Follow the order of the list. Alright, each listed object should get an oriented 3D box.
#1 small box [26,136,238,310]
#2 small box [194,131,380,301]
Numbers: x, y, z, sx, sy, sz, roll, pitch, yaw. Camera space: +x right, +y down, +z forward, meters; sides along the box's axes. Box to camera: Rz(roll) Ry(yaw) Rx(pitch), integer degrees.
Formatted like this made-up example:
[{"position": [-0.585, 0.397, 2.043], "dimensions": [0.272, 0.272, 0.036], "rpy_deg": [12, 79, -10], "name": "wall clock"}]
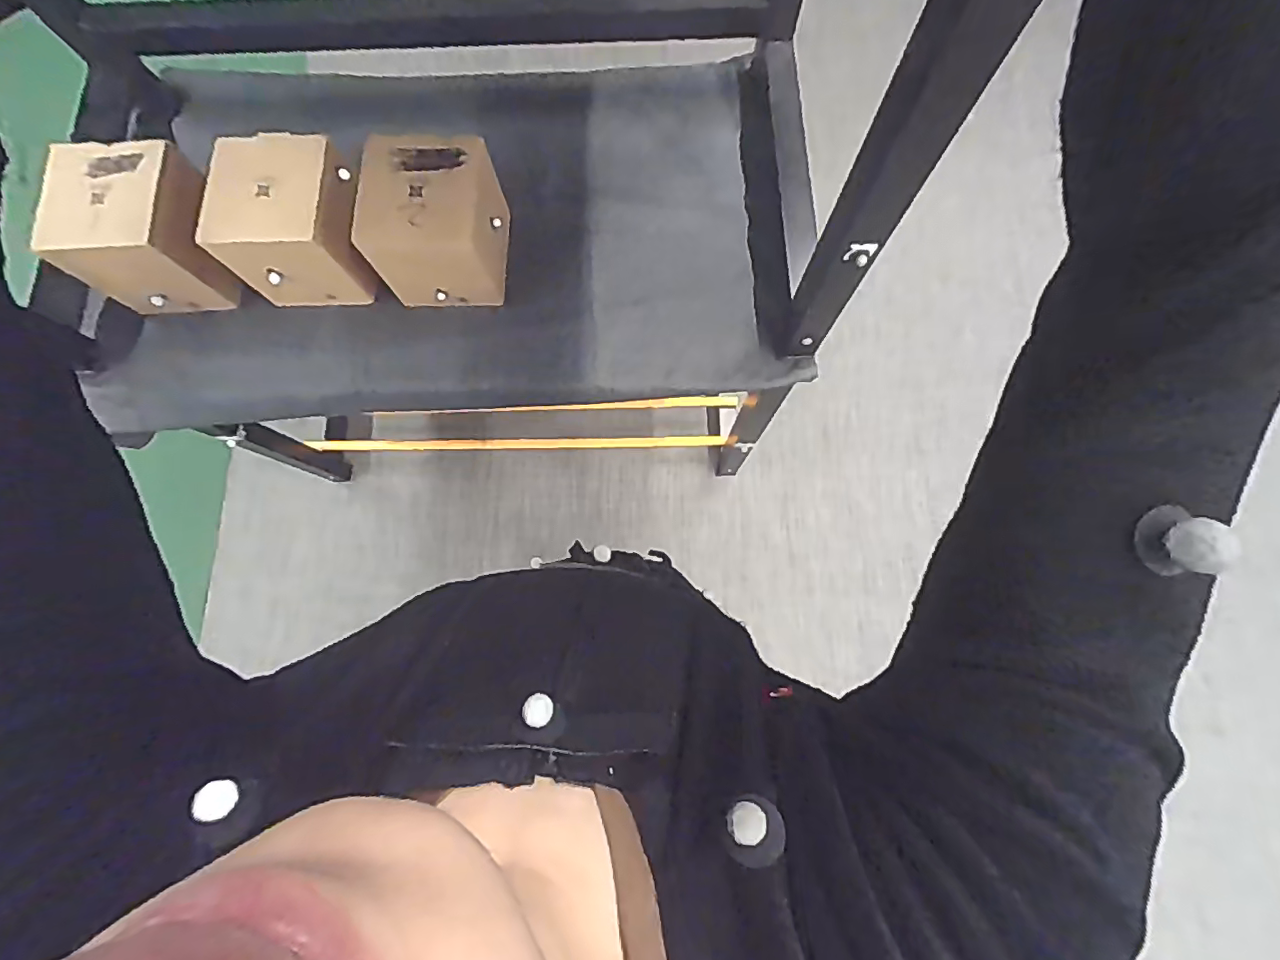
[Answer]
[{"position": [-0.747, -0.382, 0.824], "dimensions": [0.168, 0.176, 0.179], "rpy_deg": [-3, 77, 0], "name": "small box"}, {"position": [-0.520, -0.390, 0.824], "dimensions": [0.168, 0.176, 0.179], "rpy_deg": [0, 76, 0], "name": "small box"}]
